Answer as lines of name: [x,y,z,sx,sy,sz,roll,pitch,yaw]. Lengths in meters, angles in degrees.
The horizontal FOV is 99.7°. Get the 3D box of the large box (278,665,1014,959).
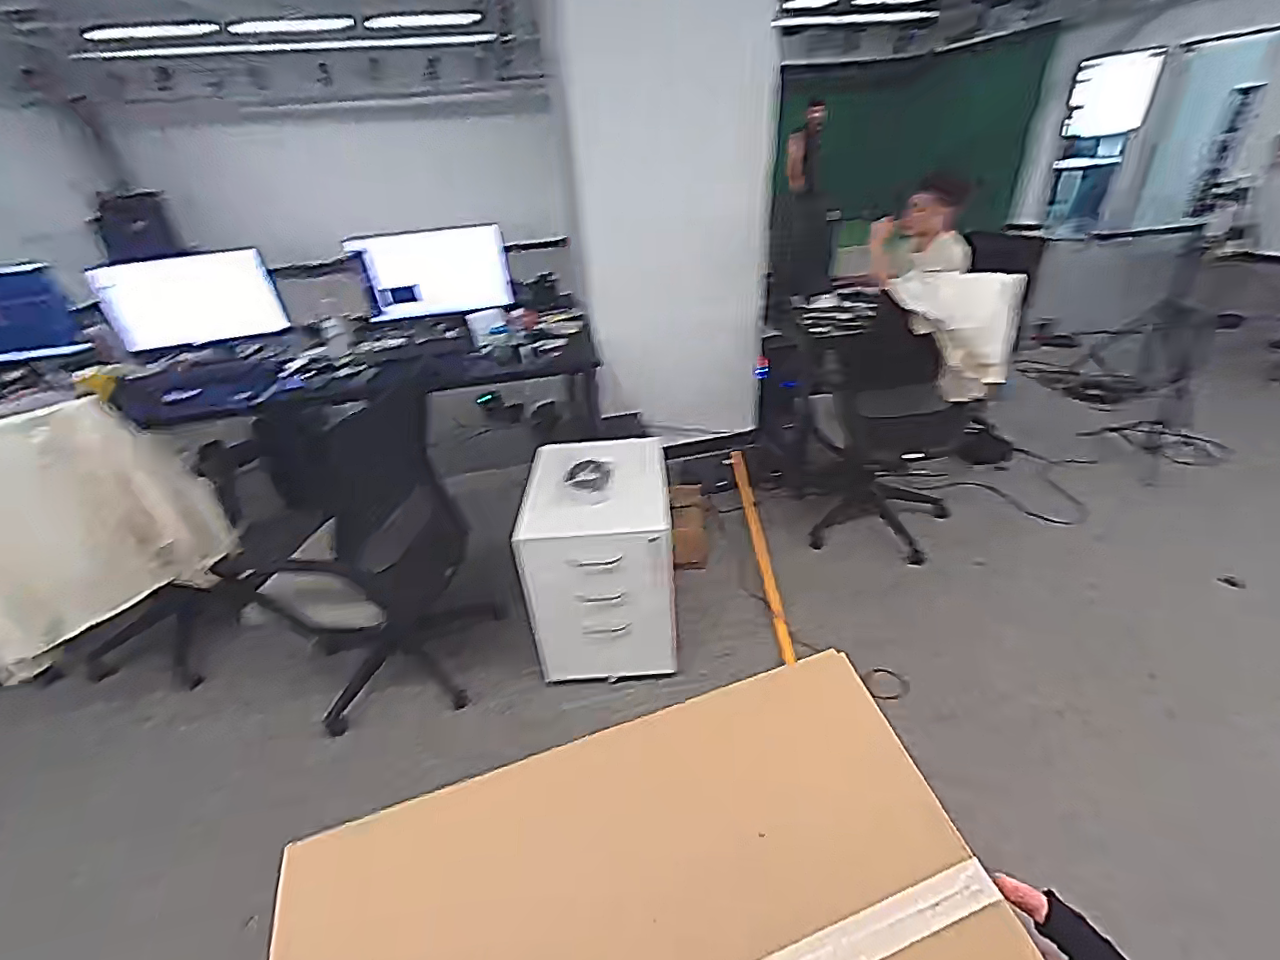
large box: [0.020,0.402,0.391,0.408,0.320,0.320,-16,46,-12]
